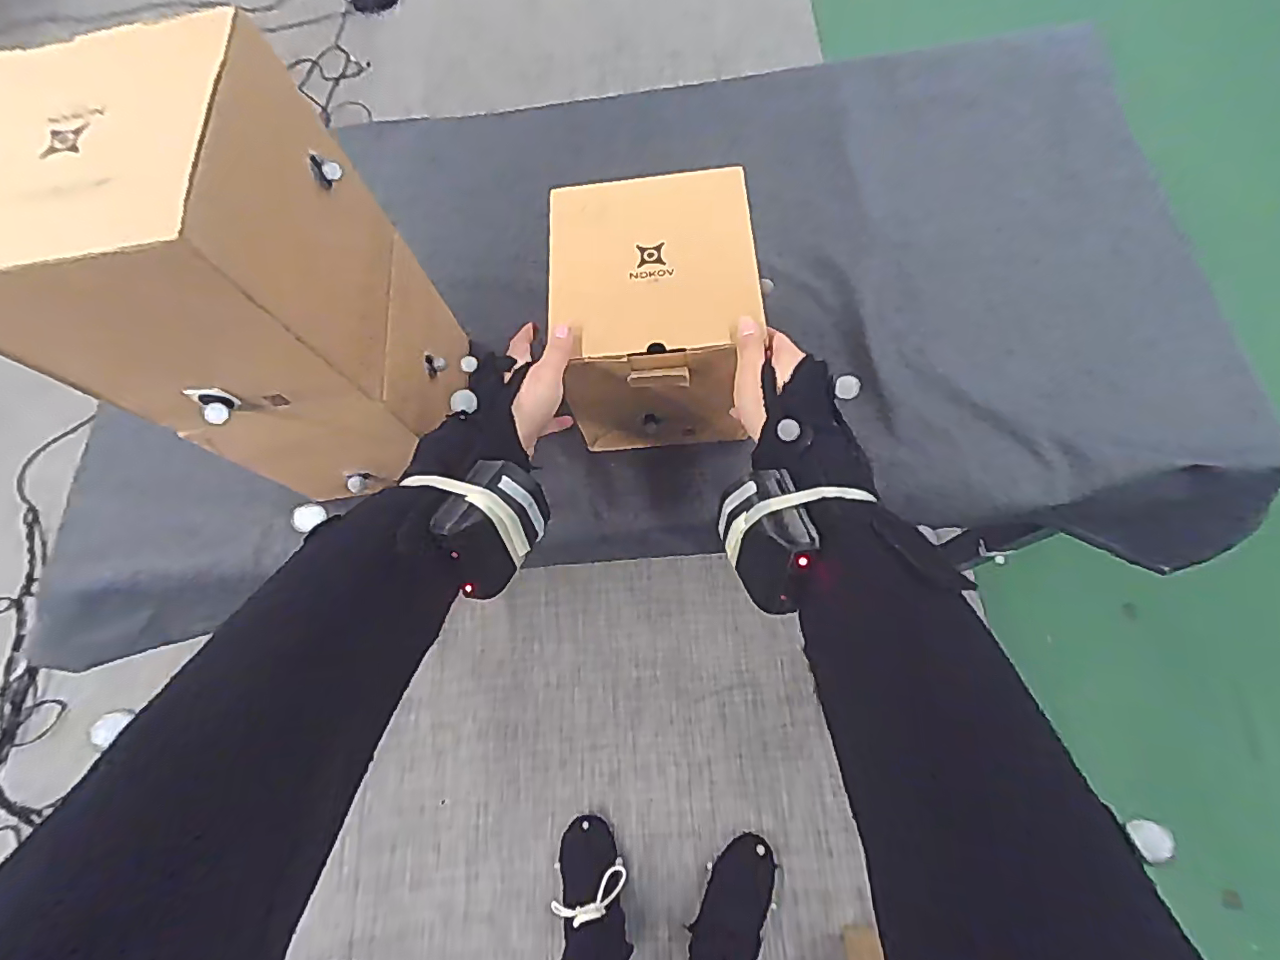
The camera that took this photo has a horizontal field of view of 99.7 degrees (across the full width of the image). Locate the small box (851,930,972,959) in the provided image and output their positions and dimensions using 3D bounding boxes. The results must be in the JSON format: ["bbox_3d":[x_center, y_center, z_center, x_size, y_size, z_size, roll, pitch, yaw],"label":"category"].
[{"bbox_3d":[0.451,0.854,0.864,0.179,0.176,0.168,-6,69,5],"label":"small box"}]

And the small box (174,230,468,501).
[{"bbox_3d":[-0.273,-0.095,0.508,0.168,0.176,0.179,-8,70,3],"label":"small box"}]

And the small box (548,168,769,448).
[{"bbox_3d":[0.016,-0.146,0.499,0.168,0.176,0.179,-5,70,4],"label":"small box"}]

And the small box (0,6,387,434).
[{"bbox_3d":[-0.288,-0.151,0.356,0.168,0.176,0.179,-9,70,4],"label":"small box"}]
